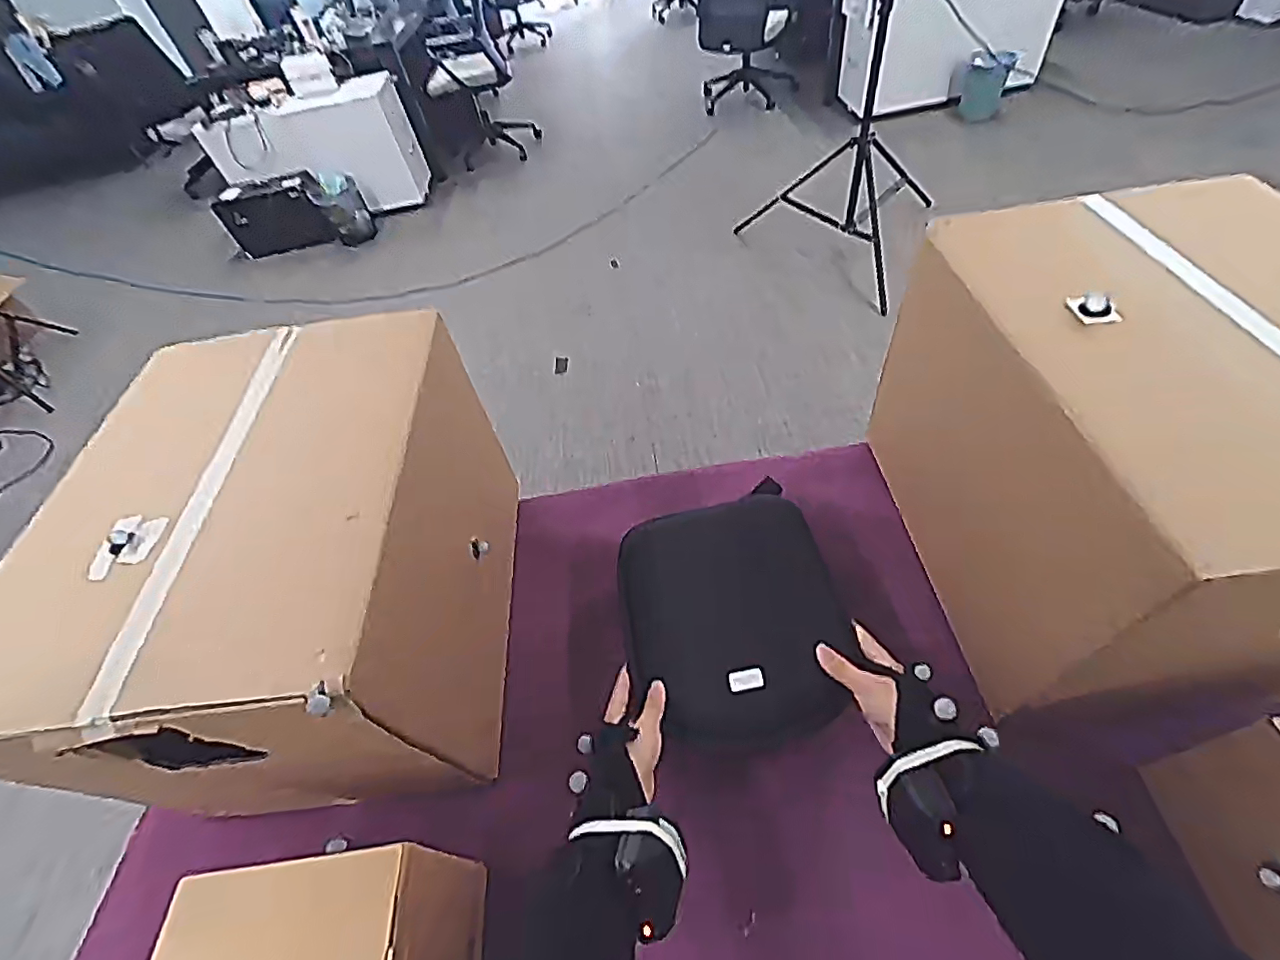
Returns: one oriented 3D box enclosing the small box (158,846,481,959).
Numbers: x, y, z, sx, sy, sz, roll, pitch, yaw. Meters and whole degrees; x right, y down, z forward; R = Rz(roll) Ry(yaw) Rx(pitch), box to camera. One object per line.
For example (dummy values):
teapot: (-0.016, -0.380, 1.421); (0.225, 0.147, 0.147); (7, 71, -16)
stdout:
small box: (-0.242, 0.403, 0.417); (0.179, 0.176, 0.168); (-10, 49, 1)

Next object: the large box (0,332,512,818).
large box: (-0.333, 0.103, 0.587); (0.320, 0.320, 0.408); (-9, 53, 2)
